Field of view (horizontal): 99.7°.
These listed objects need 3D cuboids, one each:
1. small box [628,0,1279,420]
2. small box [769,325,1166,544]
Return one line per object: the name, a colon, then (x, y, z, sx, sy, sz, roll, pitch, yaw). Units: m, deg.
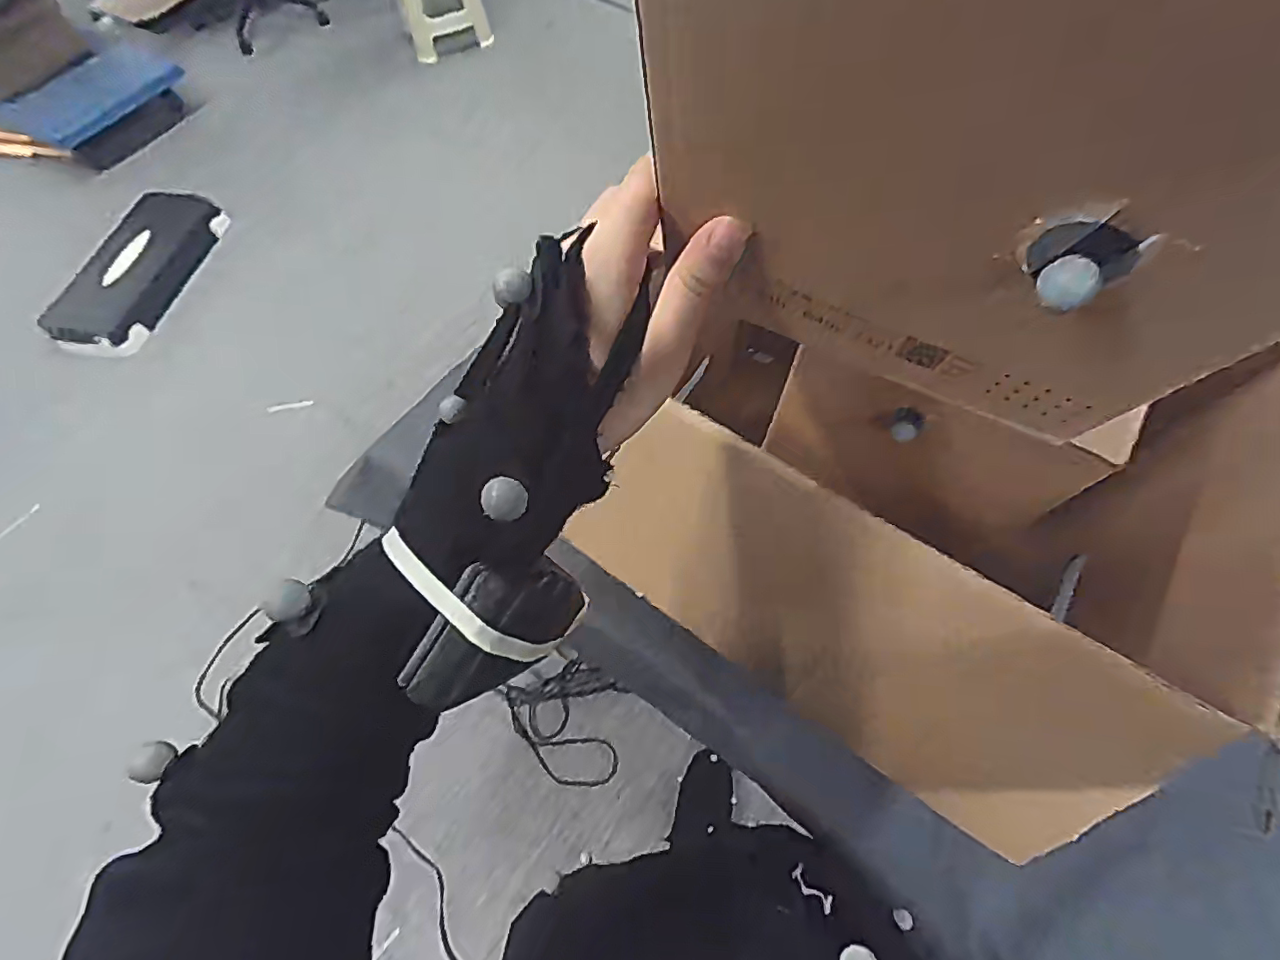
small box: (0.108, -0.141, 0.150, 0.168, 0.176, 0.179, 27, 80, 12)
small box: (0.217, -0.074, 0.389, 0.179, 0.176, 0.168, 33, 70, 17)
